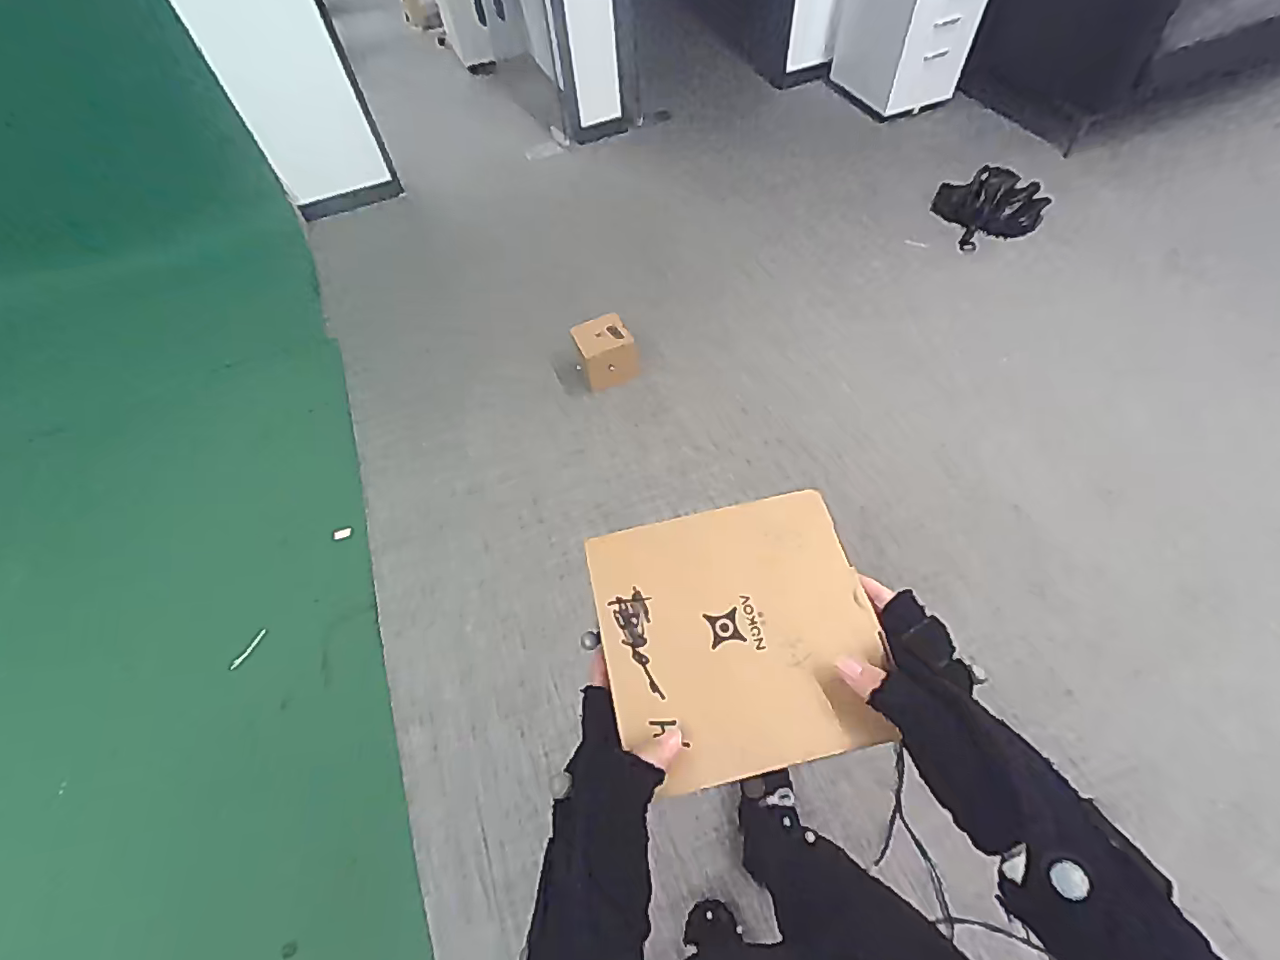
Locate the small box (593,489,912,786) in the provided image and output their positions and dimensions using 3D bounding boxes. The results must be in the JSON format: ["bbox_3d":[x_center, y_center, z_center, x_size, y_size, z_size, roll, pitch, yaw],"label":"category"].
[{"bbox_3d":[0.065,0.128,0.423,0.179,0.176,0.168,-11,60,-5],"label":"small box"}]

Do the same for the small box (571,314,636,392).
[{"bbox_3d":[-0.120,-0.438,1.871,0.179,0.176,0.168,-22,58,-9],"label":"small box"}]
